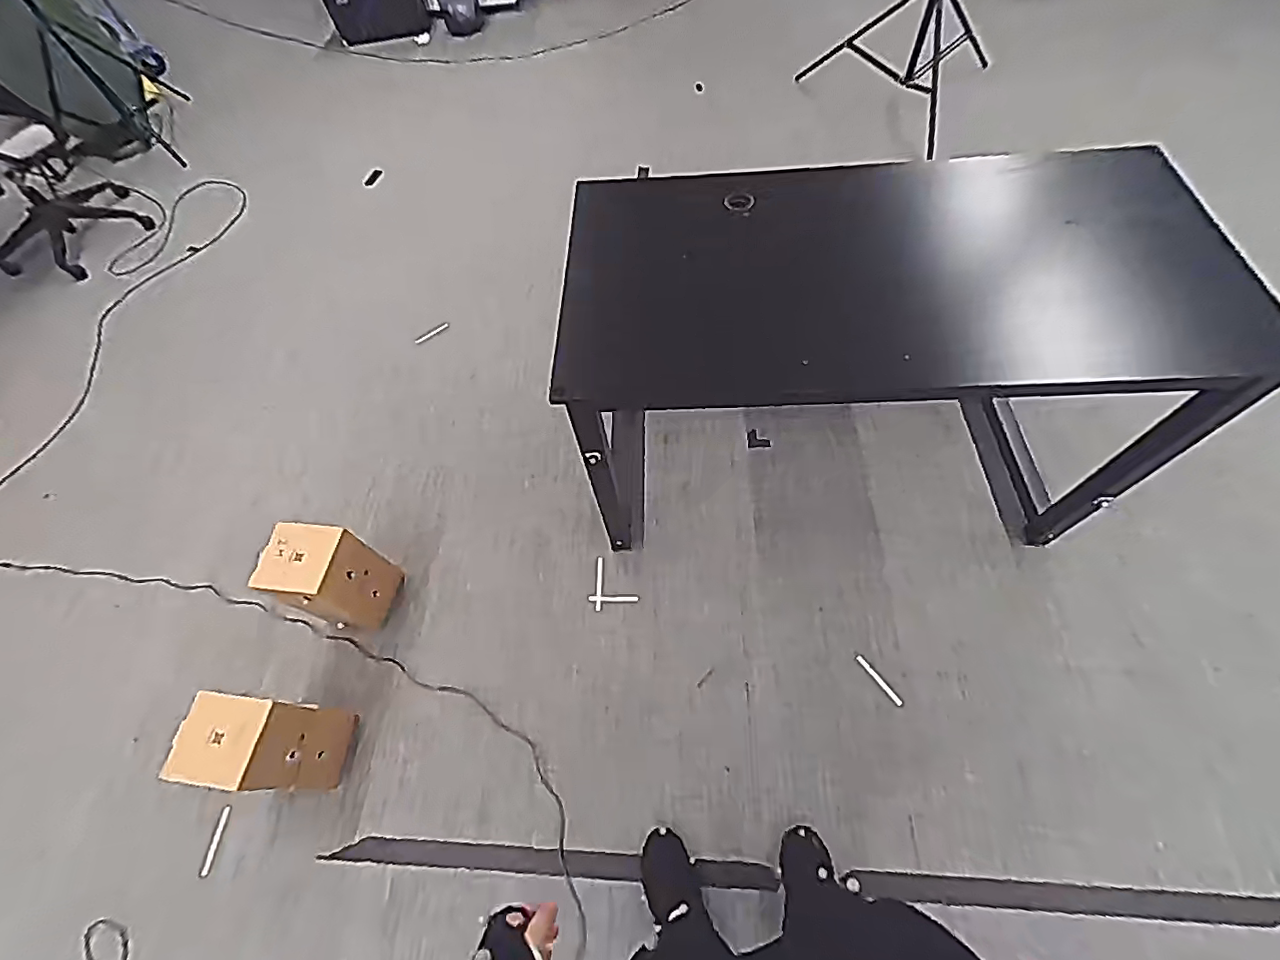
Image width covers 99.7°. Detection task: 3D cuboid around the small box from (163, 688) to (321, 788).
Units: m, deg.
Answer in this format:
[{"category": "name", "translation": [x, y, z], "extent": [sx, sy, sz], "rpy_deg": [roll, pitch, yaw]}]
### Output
[{"category": "small box", "translation": [-0.834, 0.552, 1.153], "extent": [0.179, 0.176, 0.168], "rpy_deg": [4, 62, 6]}]

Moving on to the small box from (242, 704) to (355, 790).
[{"category": "small box", "translation": [-0.819, 0.634, 1.293], "extent": [0.168, 0.176, 0.179], "rpy_deg": [0, 62, 5]}]

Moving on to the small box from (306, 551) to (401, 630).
[{"category": "small box", "translation": [-0.785, 0.295, 1.478], "extent": [0.168, 0.176, 0.179], "rpy_deg": [7, 62, 9]}]

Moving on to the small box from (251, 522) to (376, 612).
[{"category": "small box", "translation": [-0.788, 0.219, 1.331], "extent": [0.179, 0.176, 0.168], "rpy_deg": [4, 60, 8]}]
